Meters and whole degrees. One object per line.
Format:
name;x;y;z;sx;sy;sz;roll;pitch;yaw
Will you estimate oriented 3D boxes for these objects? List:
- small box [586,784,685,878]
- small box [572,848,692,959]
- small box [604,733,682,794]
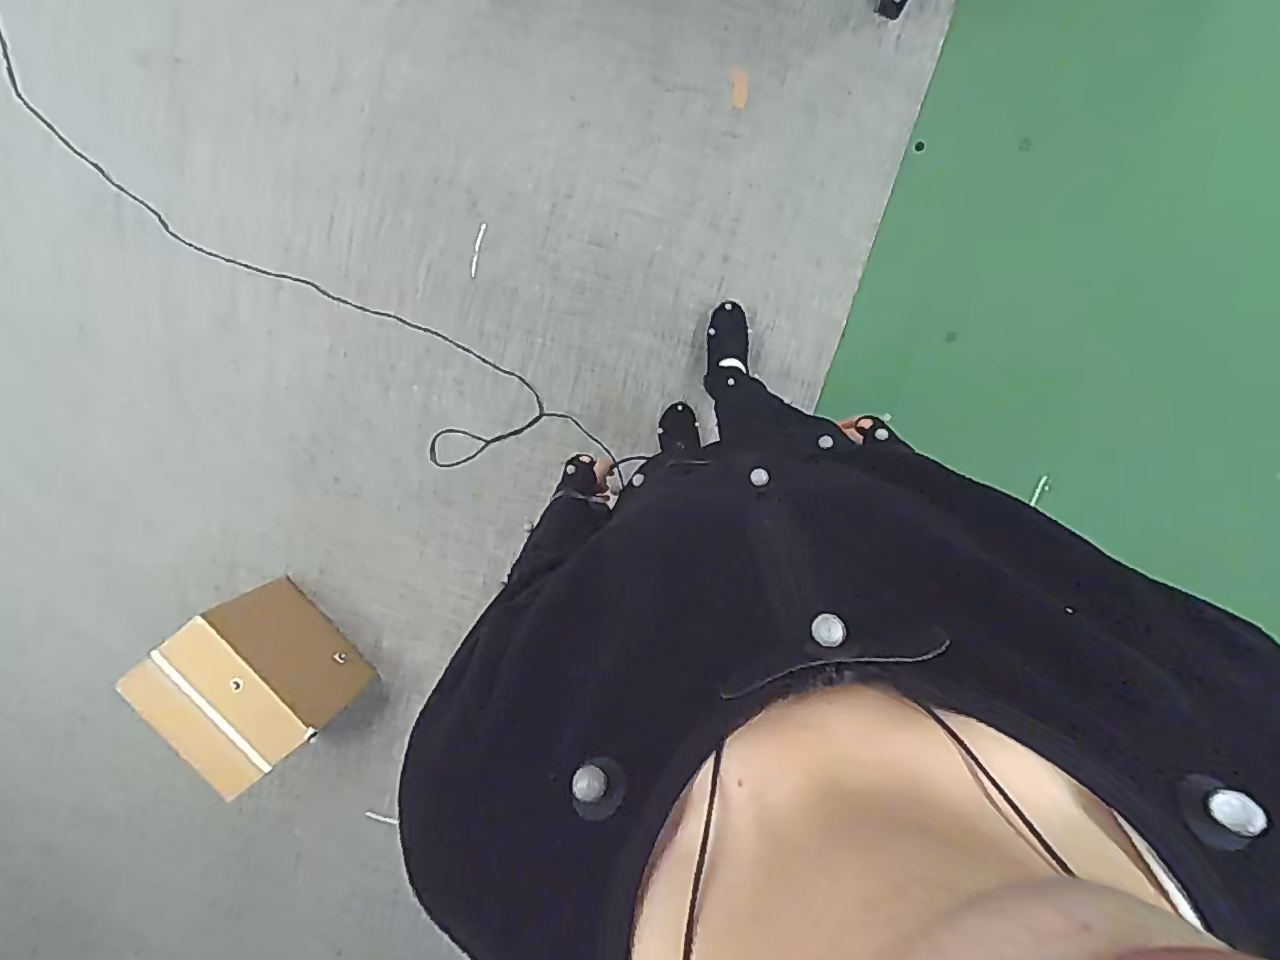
small box;-0.007;0.715;1.040;0.179;0.176;0.168;2;97;2
small box;-0.010;0.739;0.877;0.179;0.176;0.168;3;98;3
small box;0.002;0.691;1.202;0.168;0.176;0.179;4;98;2
